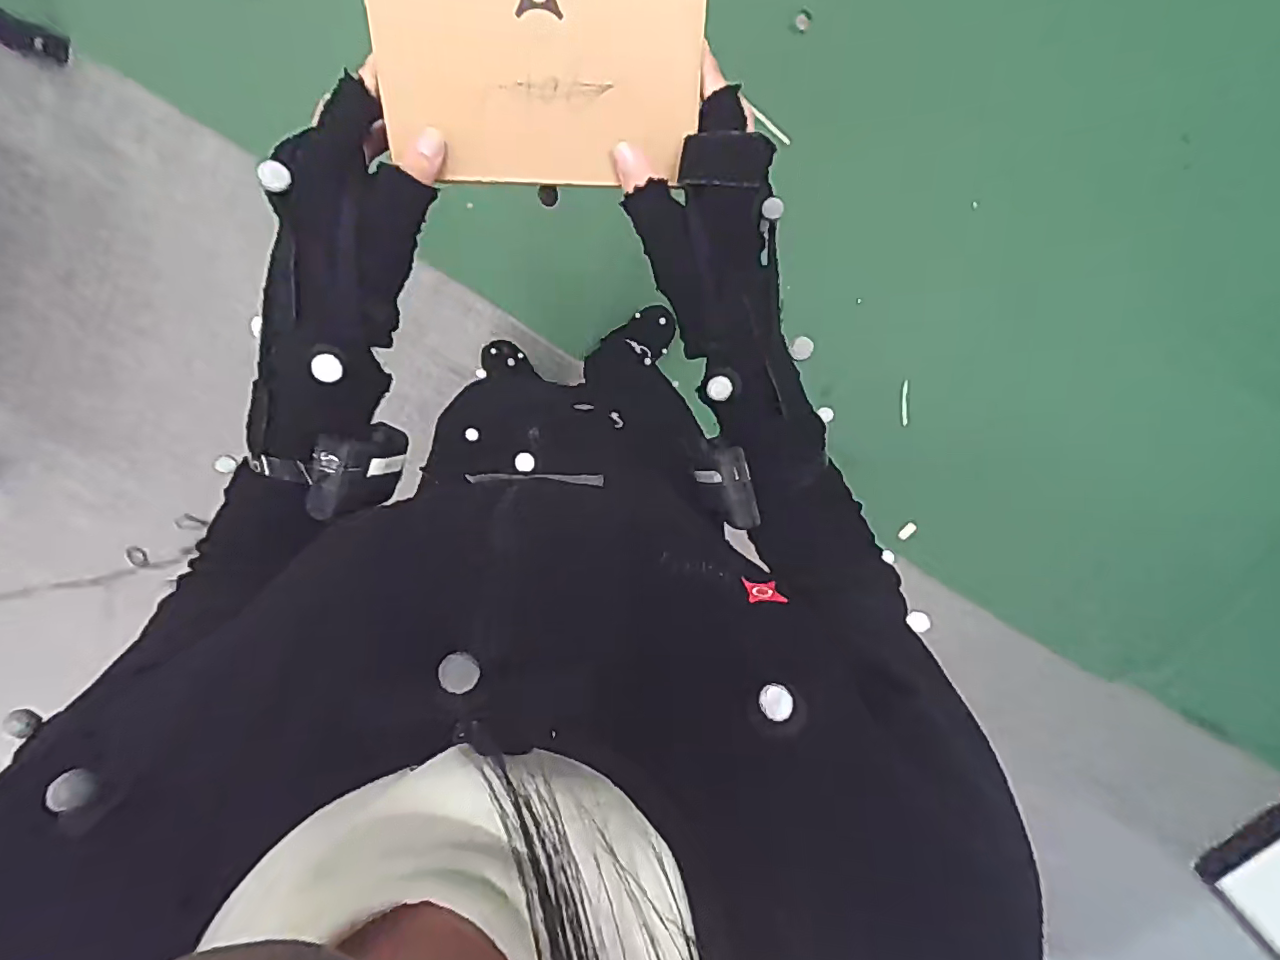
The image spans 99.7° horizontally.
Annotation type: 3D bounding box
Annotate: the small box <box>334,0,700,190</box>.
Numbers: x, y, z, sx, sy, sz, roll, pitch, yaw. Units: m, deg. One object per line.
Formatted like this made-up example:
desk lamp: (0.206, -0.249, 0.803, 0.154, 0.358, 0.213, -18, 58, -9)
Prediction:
small box: (-0.057, -0.269, 0.306, 0.168, 0.176, 0.179, 1, 121, -3)
